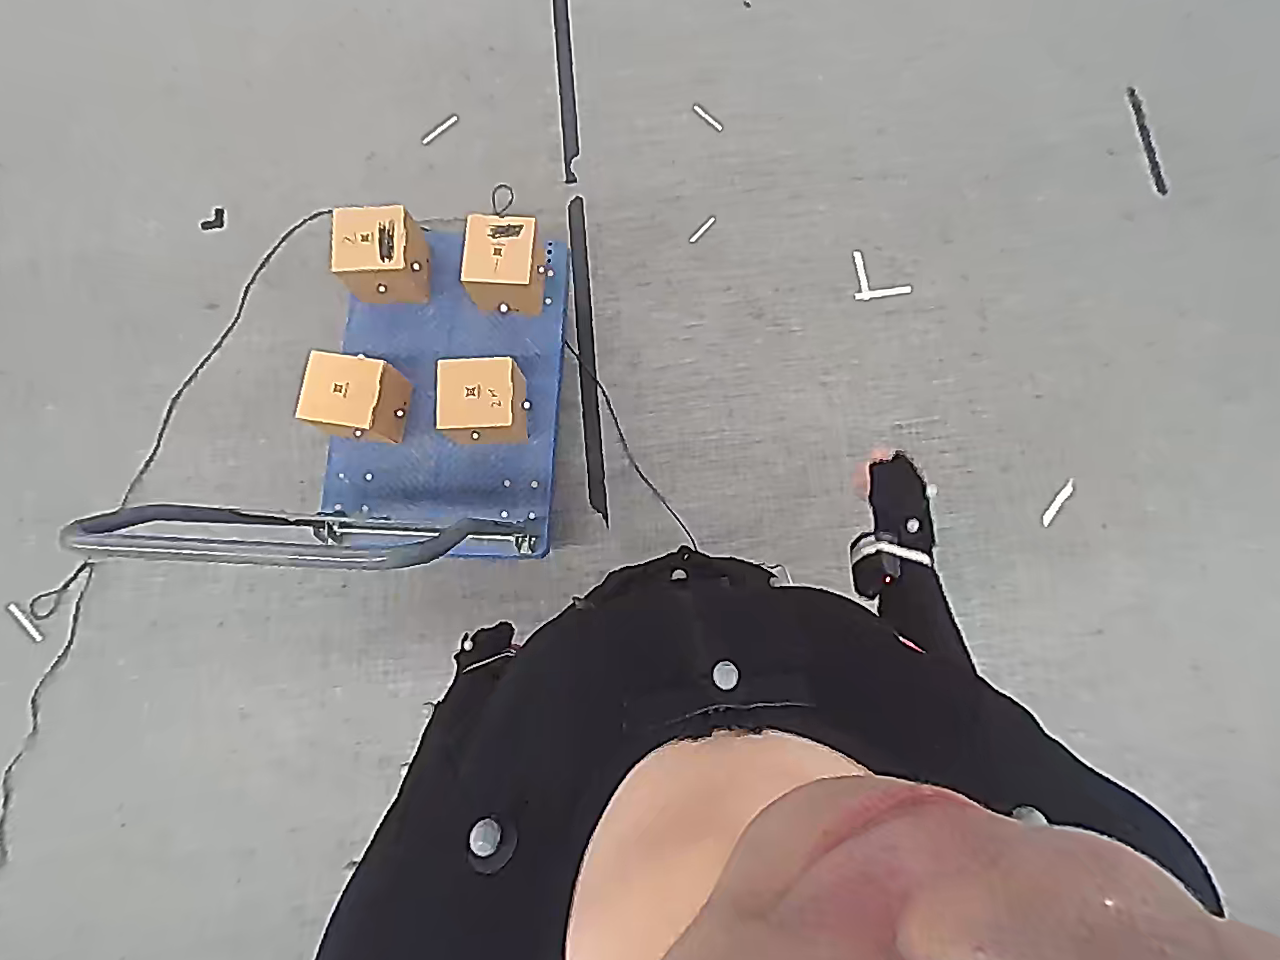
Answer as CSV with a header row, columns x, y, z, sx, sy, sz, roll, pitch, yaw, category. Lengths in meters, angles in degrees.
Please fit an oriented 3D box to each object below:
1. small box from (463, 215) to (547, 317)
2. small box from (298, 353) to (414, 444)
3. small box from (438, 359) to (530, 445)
x,y,z,sx,sy,sz,roll,pitch,yaw,category
-0.334,-0.537,1.368,0.168,0.176,0.179,3,82,1,small box
-0.681,-0.191,1.316,0.179,0.176,0.168,8,81,-1,small box
-0.374,-0.184,1.314,0.179,0.176,0.168,-2,81,0,small box
